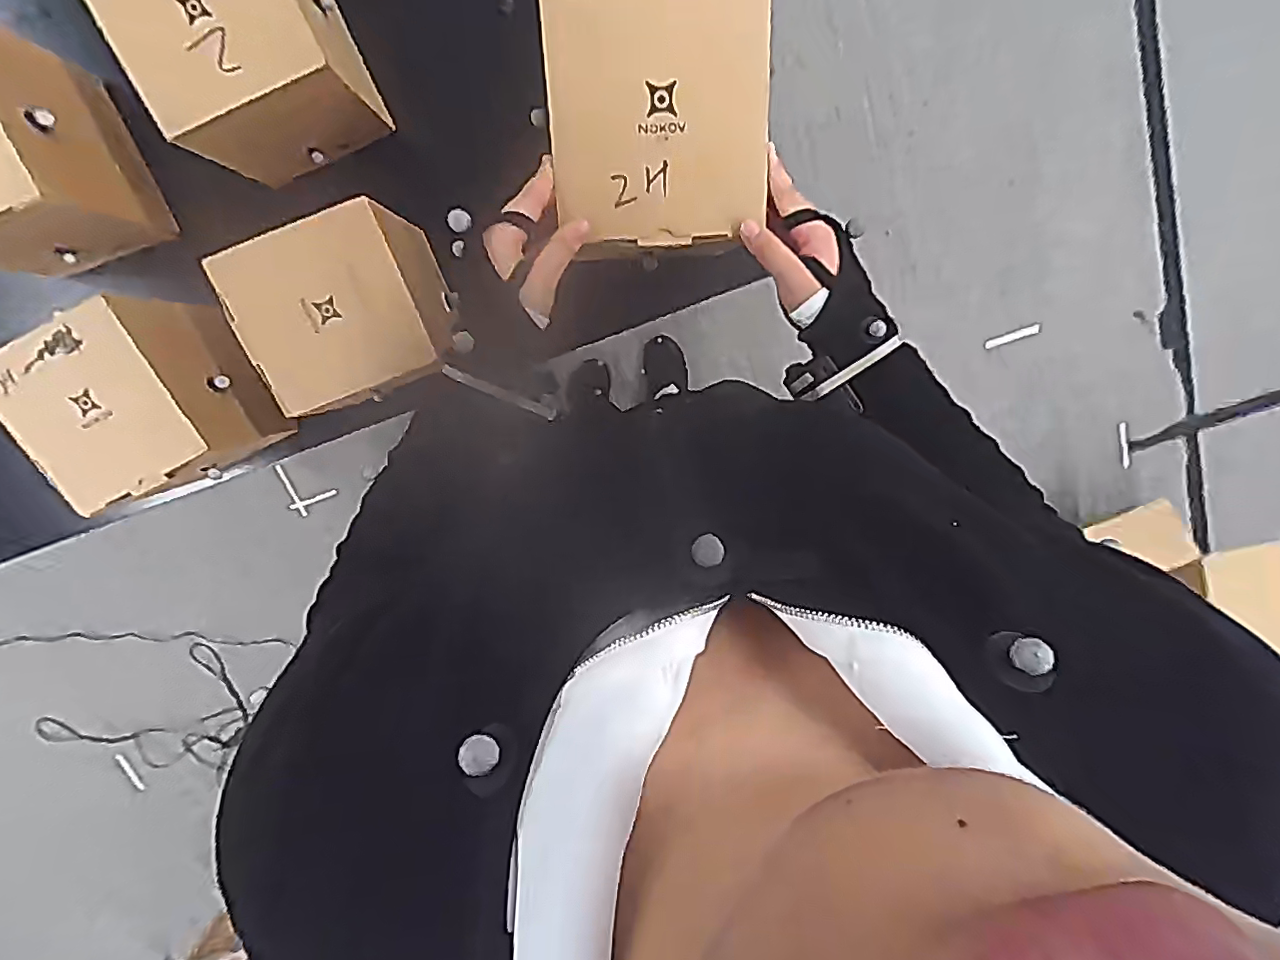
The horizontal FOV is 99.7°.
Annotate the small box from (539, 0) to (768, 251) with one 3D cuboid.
[{"bbox_3d":[0.004,-0.303,0.472,0.168,0.176,0.179,-3,109,-4],"label":"small box"}]

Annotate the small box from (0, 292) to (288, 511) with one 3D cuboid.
[{"bbox_3d":[-0.558,-0.095,0.620,0.168,0.176,0.179,-26,104,4],"label":"small box"}]

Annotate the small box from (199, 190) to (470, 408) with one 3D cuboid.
[{"bbox_3d":[-0.320,-0.192,0.610,0.179,0.176,0.168,-20,104,2],"label":"small box"}]

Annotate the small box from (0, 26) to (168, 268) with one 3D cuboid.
[{"bbox_3d":[-0.660,-0.338,0.554,0.168,0.176,0.179,-19,105,2],"label":"small box"}]
